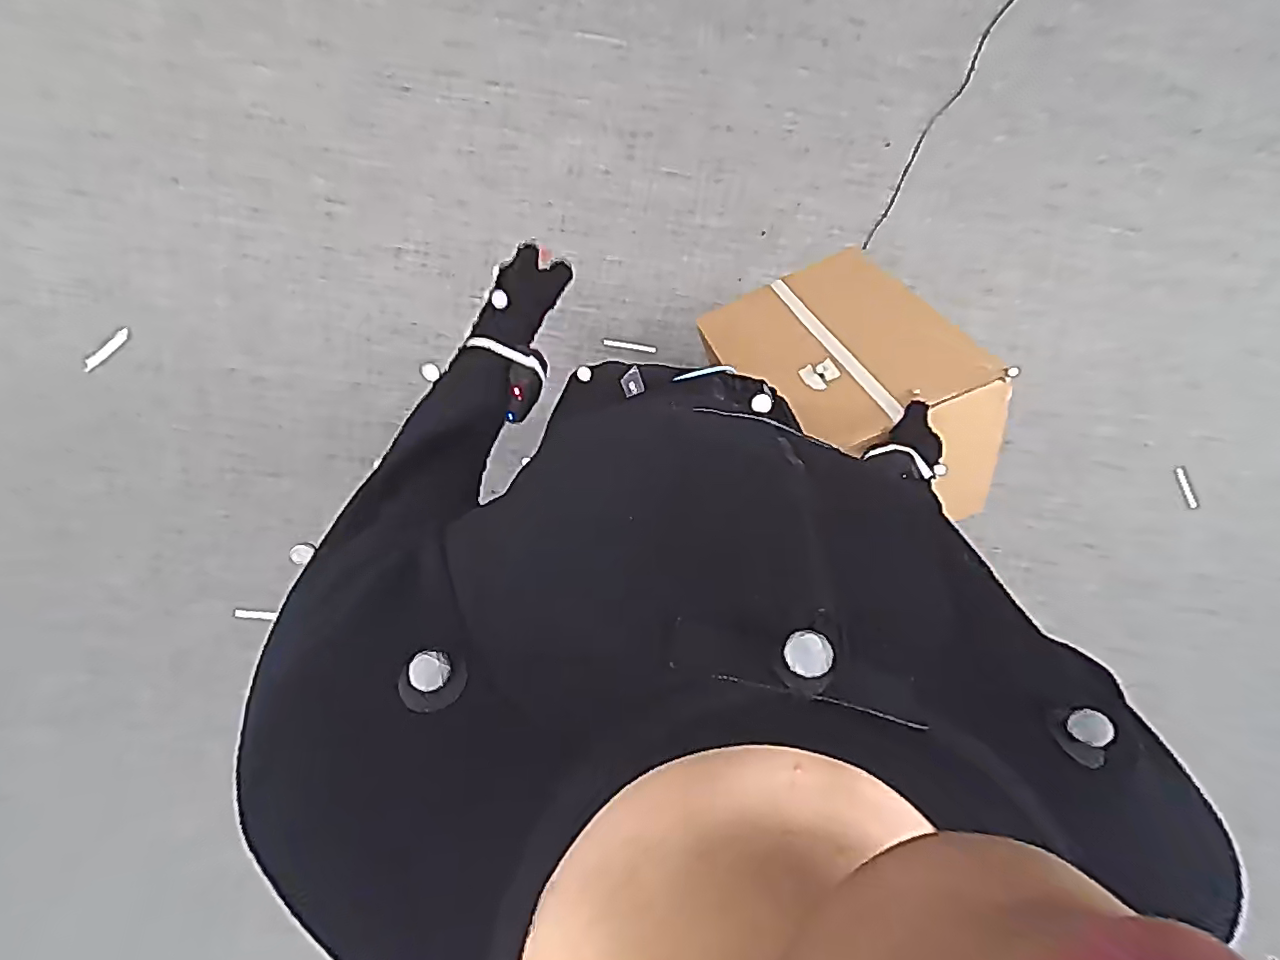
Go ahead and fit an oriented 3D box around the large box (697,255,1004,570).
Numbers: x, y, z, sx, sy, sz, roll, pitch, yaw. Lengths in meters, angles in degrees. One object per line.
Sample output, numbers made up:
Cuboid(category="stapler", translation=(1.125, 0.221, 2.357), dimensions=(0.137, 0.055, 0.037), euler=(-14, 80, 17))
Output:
Cuboid(category="large box", translation=(0.337, -0.121, 0.961), dimensions=(0.320, 0.408, 0.320), euler=(-23, 138, 5))
